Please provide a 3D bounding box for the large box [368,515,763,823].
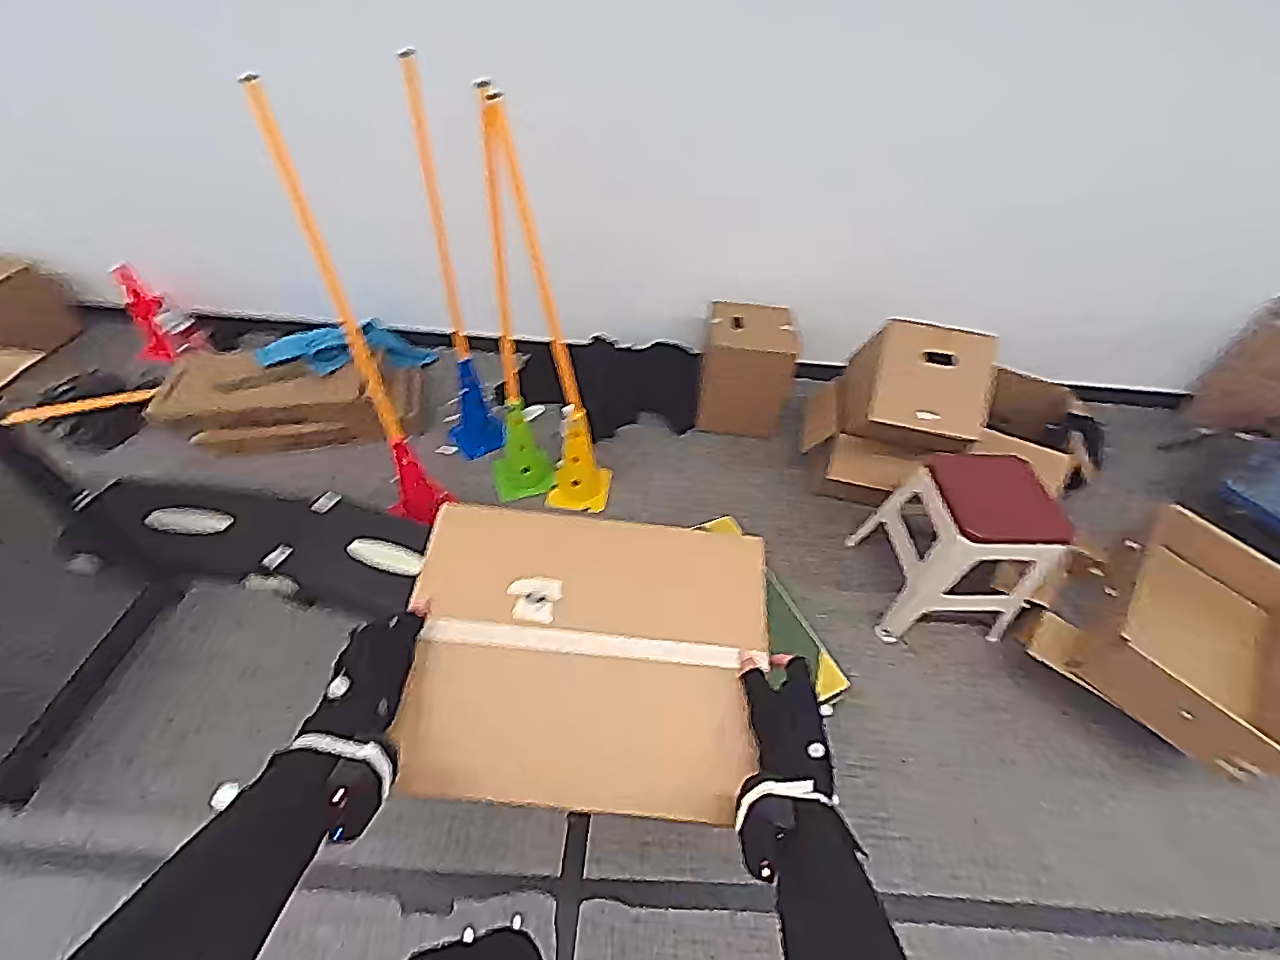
[{"bbox_3d":[-0.070,0.266,0.741,0.408,0.320,0.320,6,59,-1],"label":"large box"}]
